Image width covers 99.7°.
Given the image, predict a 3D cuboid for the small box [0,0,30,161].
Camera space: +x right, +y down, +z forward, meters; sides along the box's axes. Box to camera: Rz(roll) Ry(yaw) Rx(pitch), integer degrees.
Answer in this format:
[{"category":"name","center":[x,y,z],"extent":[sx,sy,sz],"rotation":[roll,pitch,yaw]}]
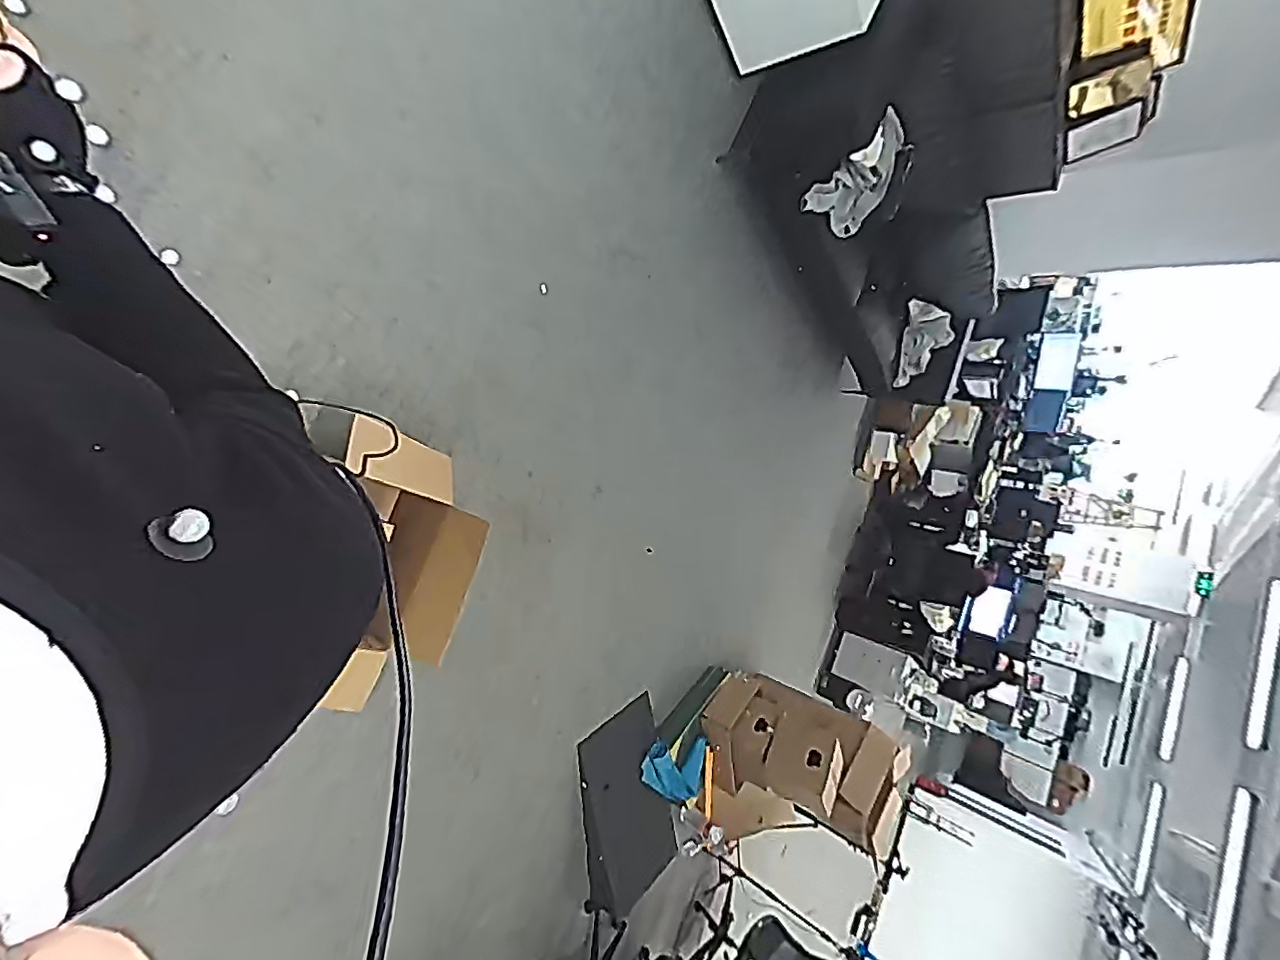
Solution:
[{"category":"small box","center":[-0.618,-0.378,0.418],"extent":[0.179,0.176,0.168],"rotation":[-13,96,-43]}]
